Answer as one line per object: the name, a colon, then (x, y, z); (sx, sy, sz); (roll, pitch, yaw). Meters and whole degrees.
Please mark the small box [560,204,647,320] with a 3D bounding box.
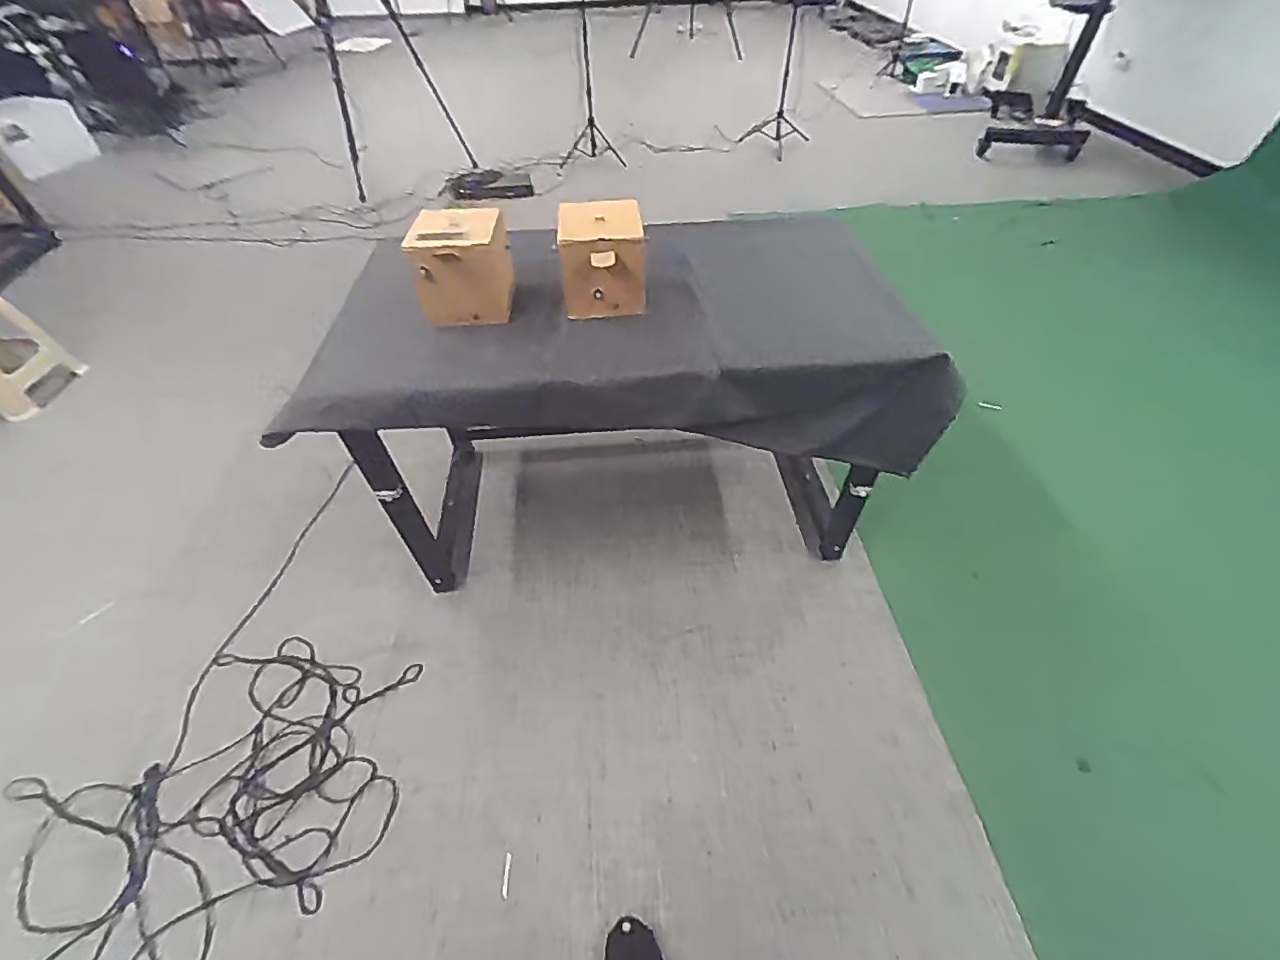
small box: (-0.074, -0.455, 1.131); (0.168, 0.176, 0.179); (-4, 49, -3)
